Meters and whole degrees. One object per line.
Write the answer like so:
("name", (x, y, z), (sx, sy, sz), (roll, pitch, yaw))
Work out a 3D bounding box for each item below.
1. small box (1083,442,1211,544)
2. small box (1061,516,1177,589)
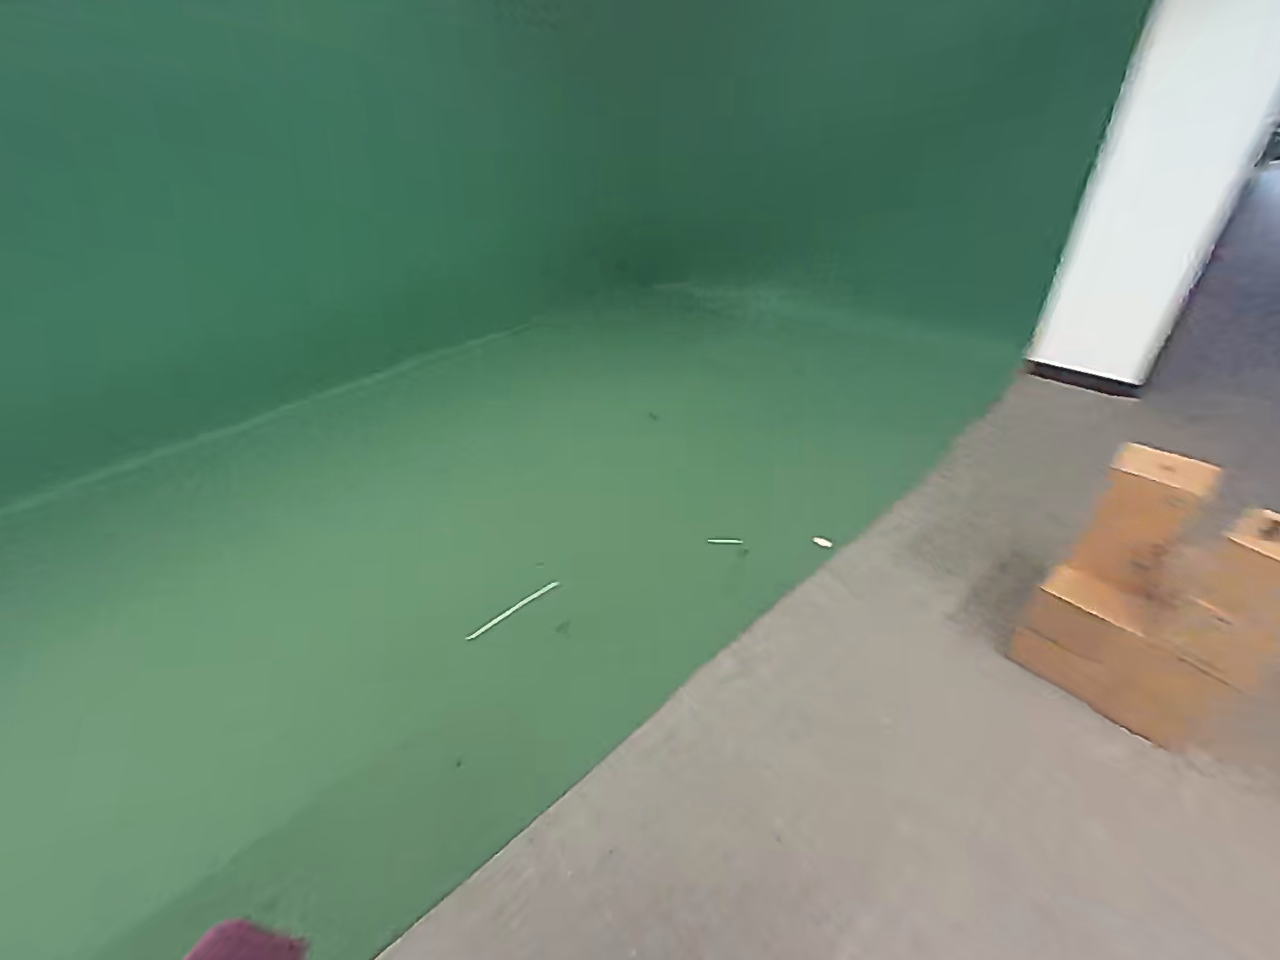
("small box", (1.278, 0.033, 1.373), (0.168, 0.176, 0.179), (-30, 43, -31))
("small box", (1.292, 0.169, 1.462), (0.168, 0.176, 0.179), (-31, 42, -32))
